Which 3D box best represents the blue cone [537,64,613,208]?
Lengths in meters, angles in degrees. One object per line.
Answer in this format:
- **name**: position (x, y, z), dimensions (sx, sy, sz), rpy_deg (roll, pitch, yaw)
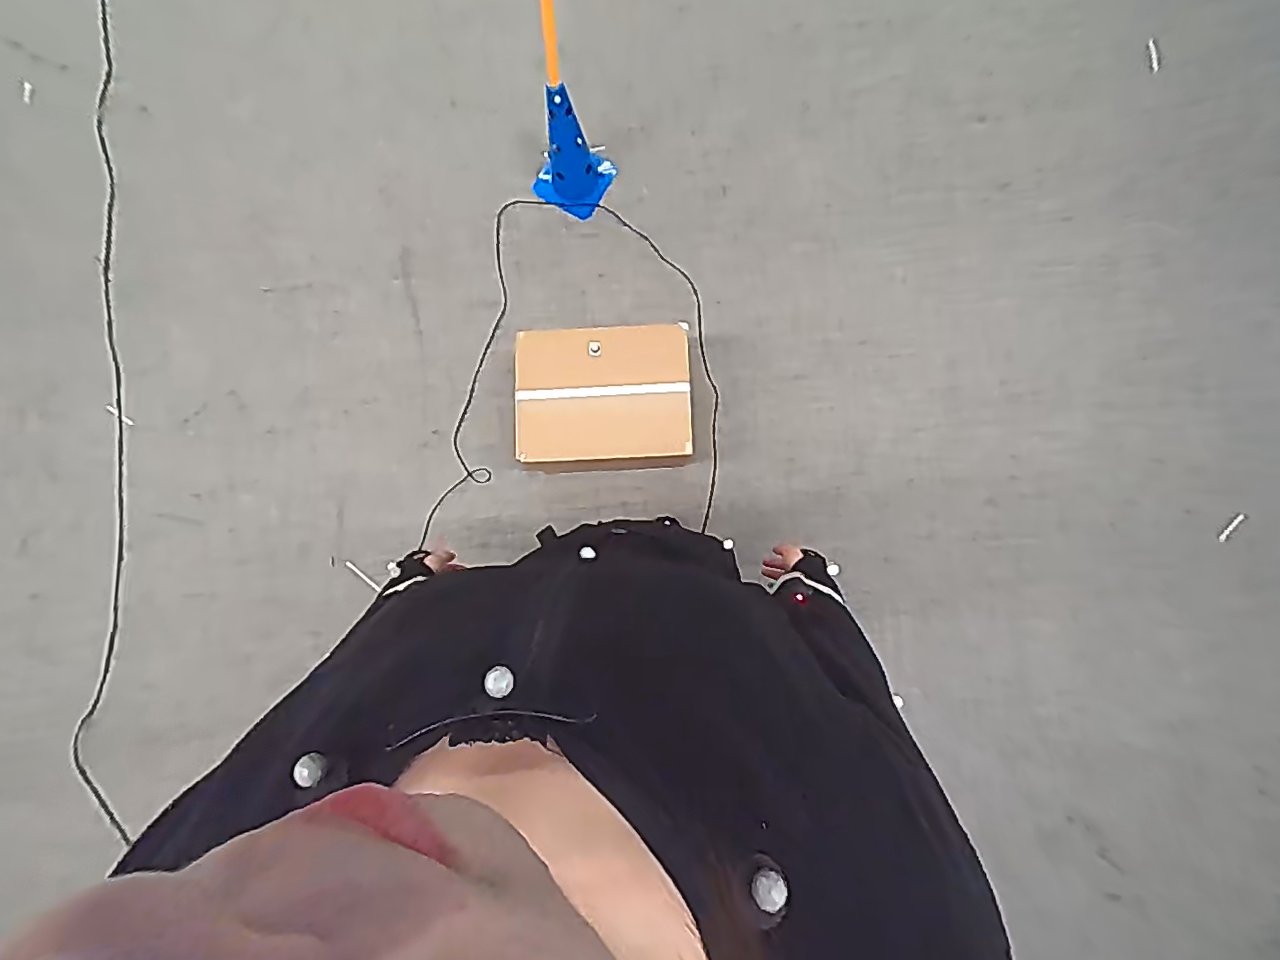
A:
- **blue cone**: position (-0.193, -0.926, 1.426), dimensions (0.192, 0.380, 0.193), rpy_deg (27, 85, 2)
